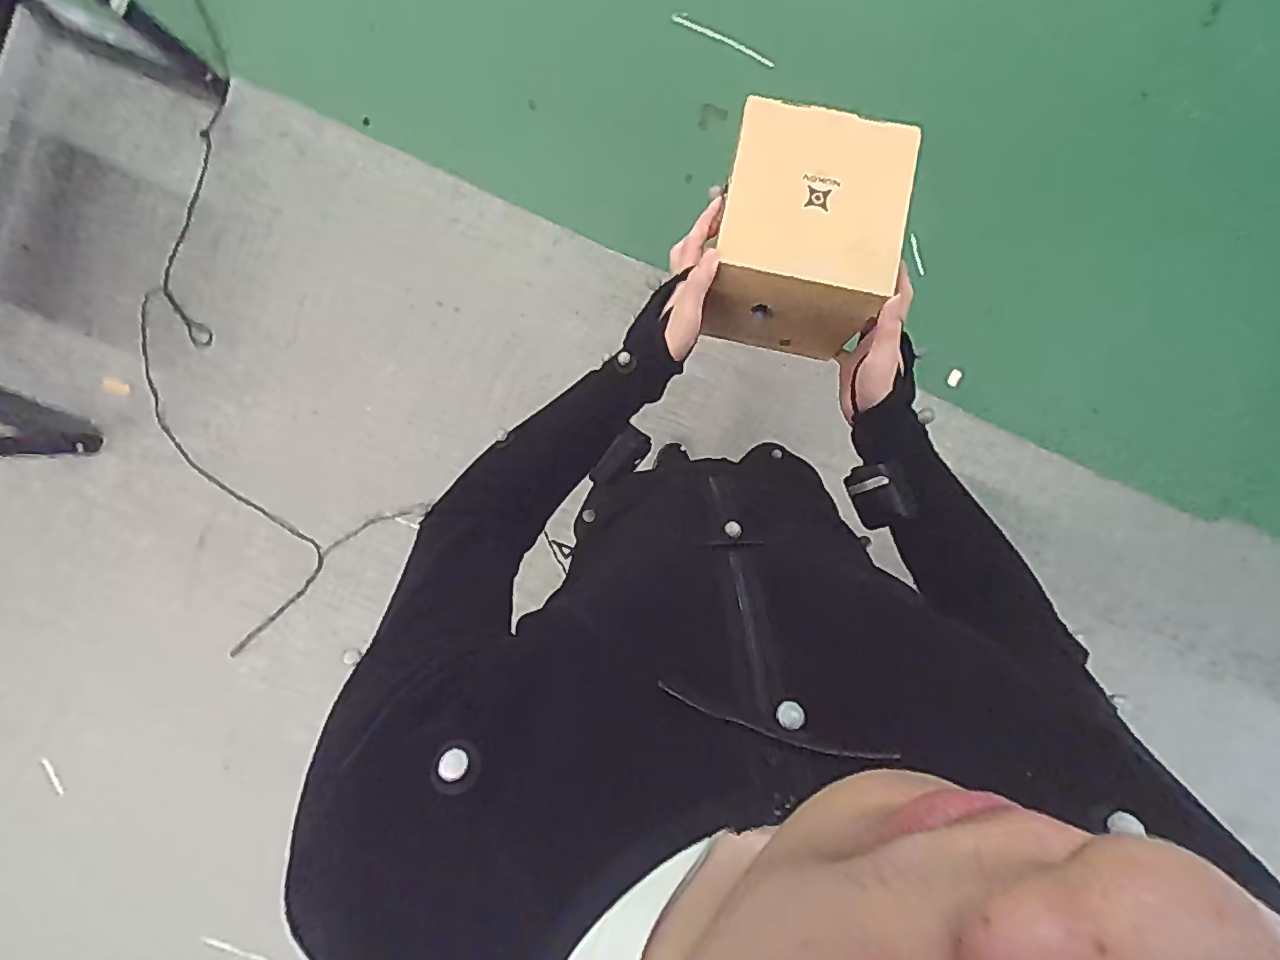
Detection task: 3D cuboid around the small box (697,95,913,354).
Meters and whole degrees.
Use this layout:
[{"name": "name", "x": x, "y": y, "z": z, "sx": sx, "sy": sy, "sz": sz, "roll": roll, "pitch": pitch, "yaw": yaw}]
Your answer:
[{"name": "small box", "x": 0.158, "y": -0.252, "z": 0.573, "sx": 0.168, "sy": 0.176, "sz": 0.179, "roll": 11, "pitch": 82, "yaw": 2}]
